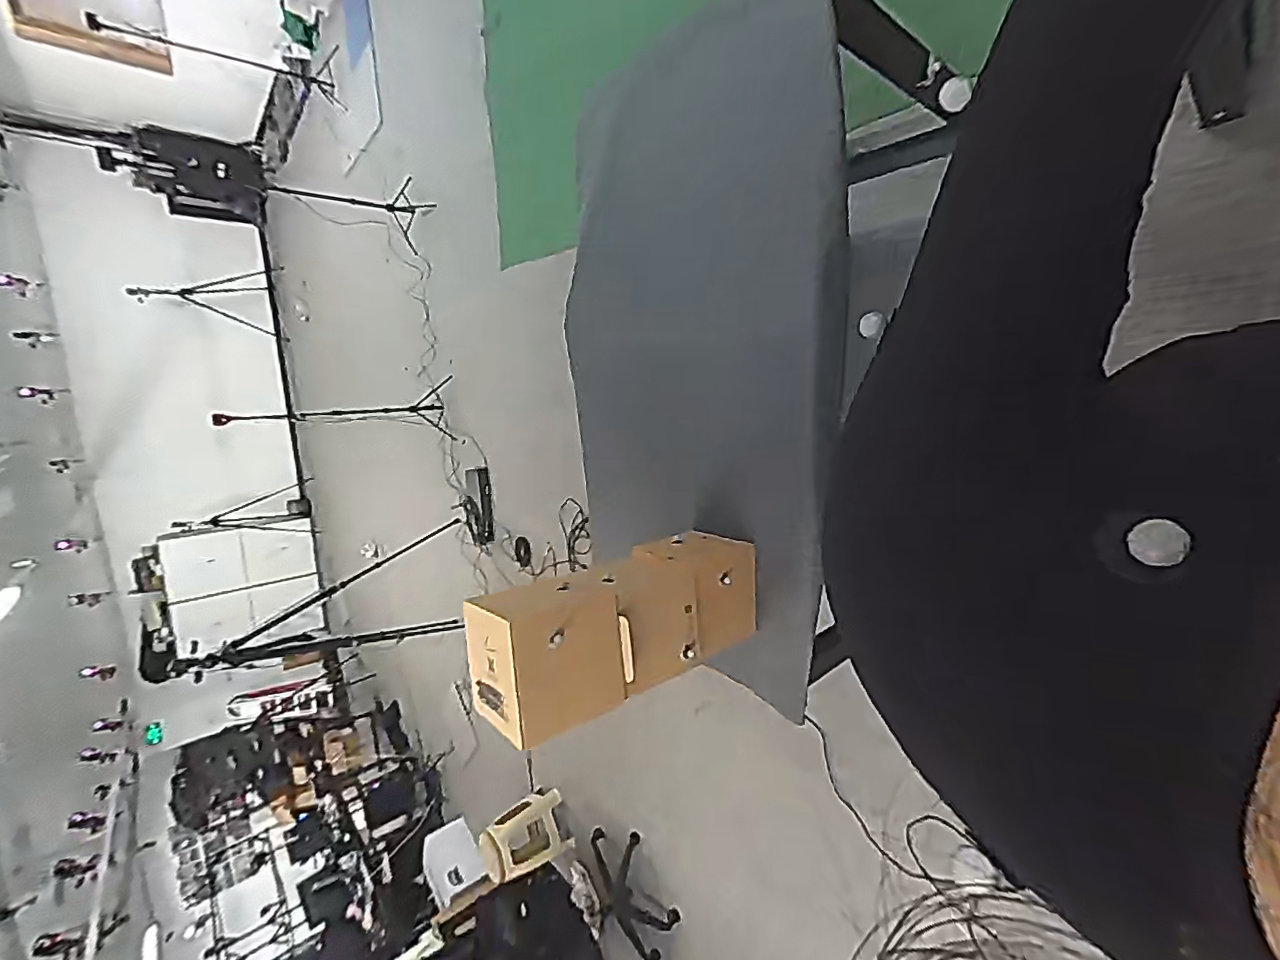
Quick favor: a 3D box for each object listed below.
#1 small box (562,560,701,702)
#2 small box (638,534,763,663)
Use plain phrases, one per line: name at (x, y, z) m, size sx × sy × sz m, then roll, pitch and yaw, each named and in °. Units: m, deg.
small box at (-0.009, 0.240, 0.913) m, size 0.179 × 0.176 × 0.168 m, roll 1°, pitch 98°, yaw 52°
small box at (0.116, 0.208, 1.015) m, size 0.168 × 0.176 × 0.179 m, roll 7°, pitch 104°, yaw 51°
